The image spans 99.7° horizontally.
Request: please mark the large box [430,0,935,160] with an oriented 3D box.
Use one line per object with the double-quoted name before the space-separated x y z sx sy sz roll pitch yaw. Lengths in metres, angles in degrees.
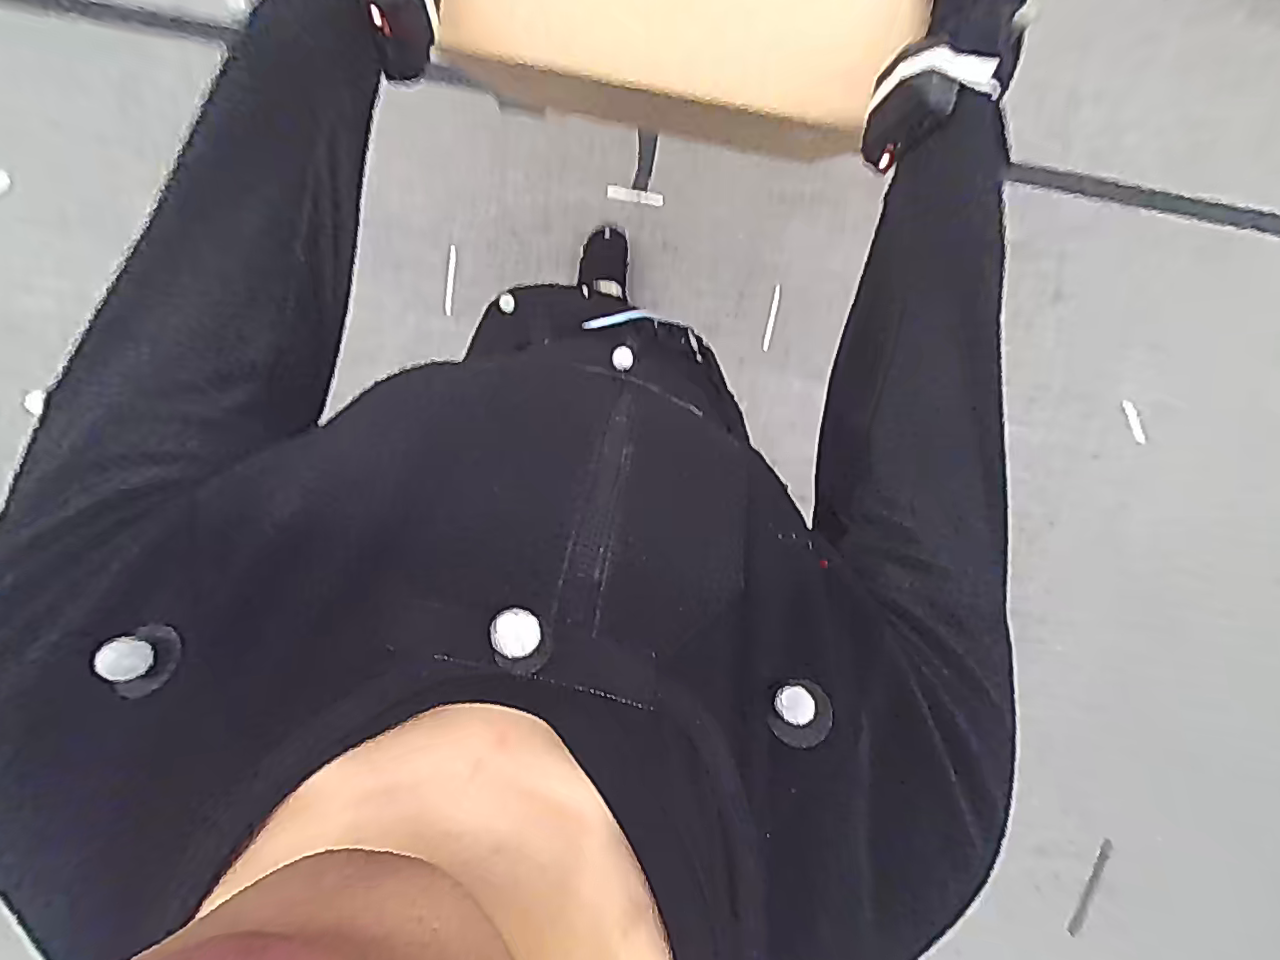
"large box" 0.048 -0.527 0.518 0.408 0.320 0.320 10 118 -3
